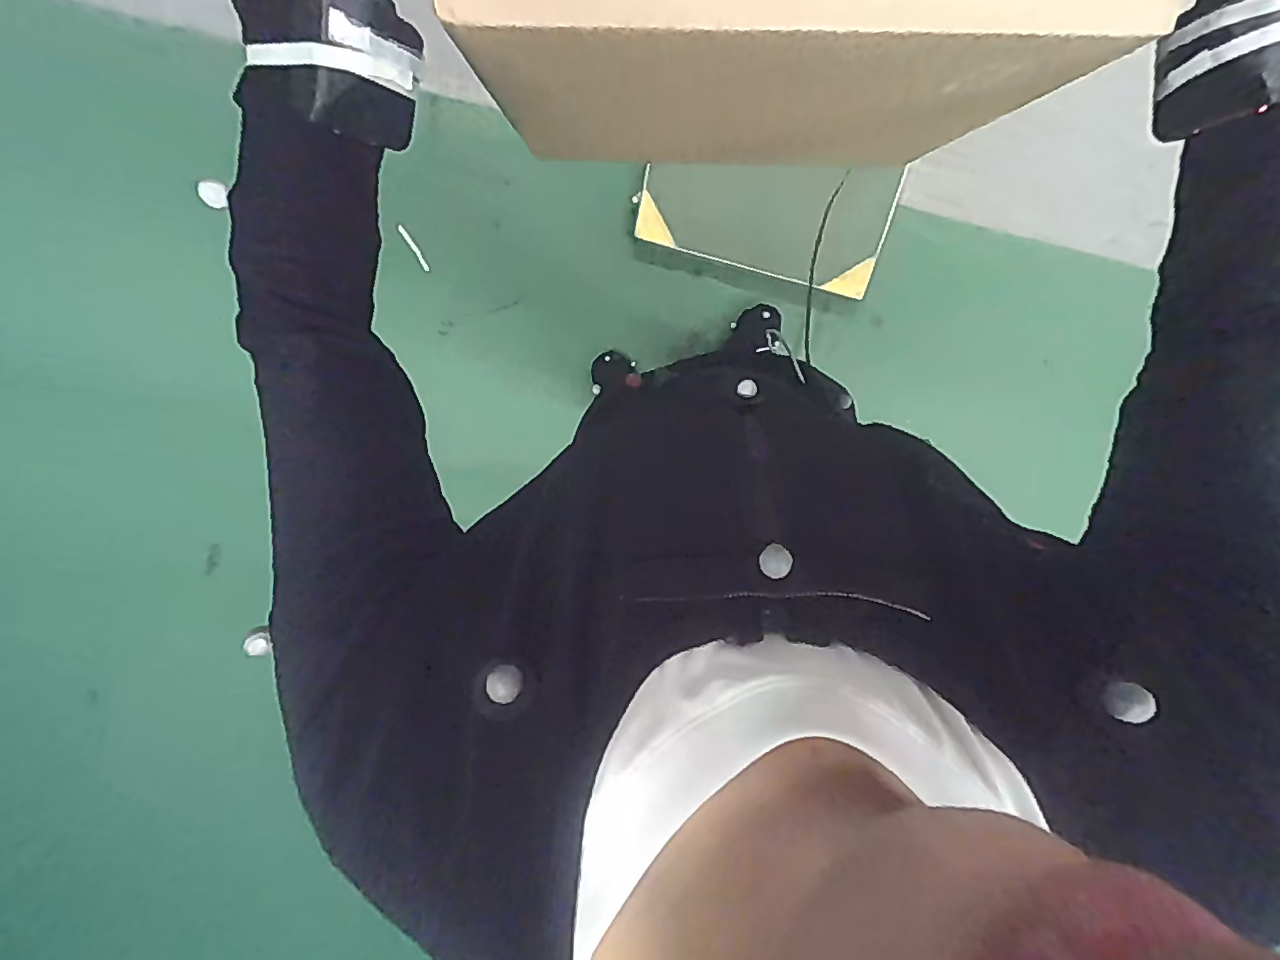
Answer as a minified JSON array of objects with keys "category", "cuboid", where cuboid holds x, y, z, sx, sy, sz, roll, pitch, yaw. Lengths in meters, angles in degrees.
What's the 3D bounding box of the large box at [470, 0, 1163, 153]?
[{"category":"large box","cuboid":[0.093,-0.453,0.395,0.408,0.320,0.320,0,109,-2]}]
